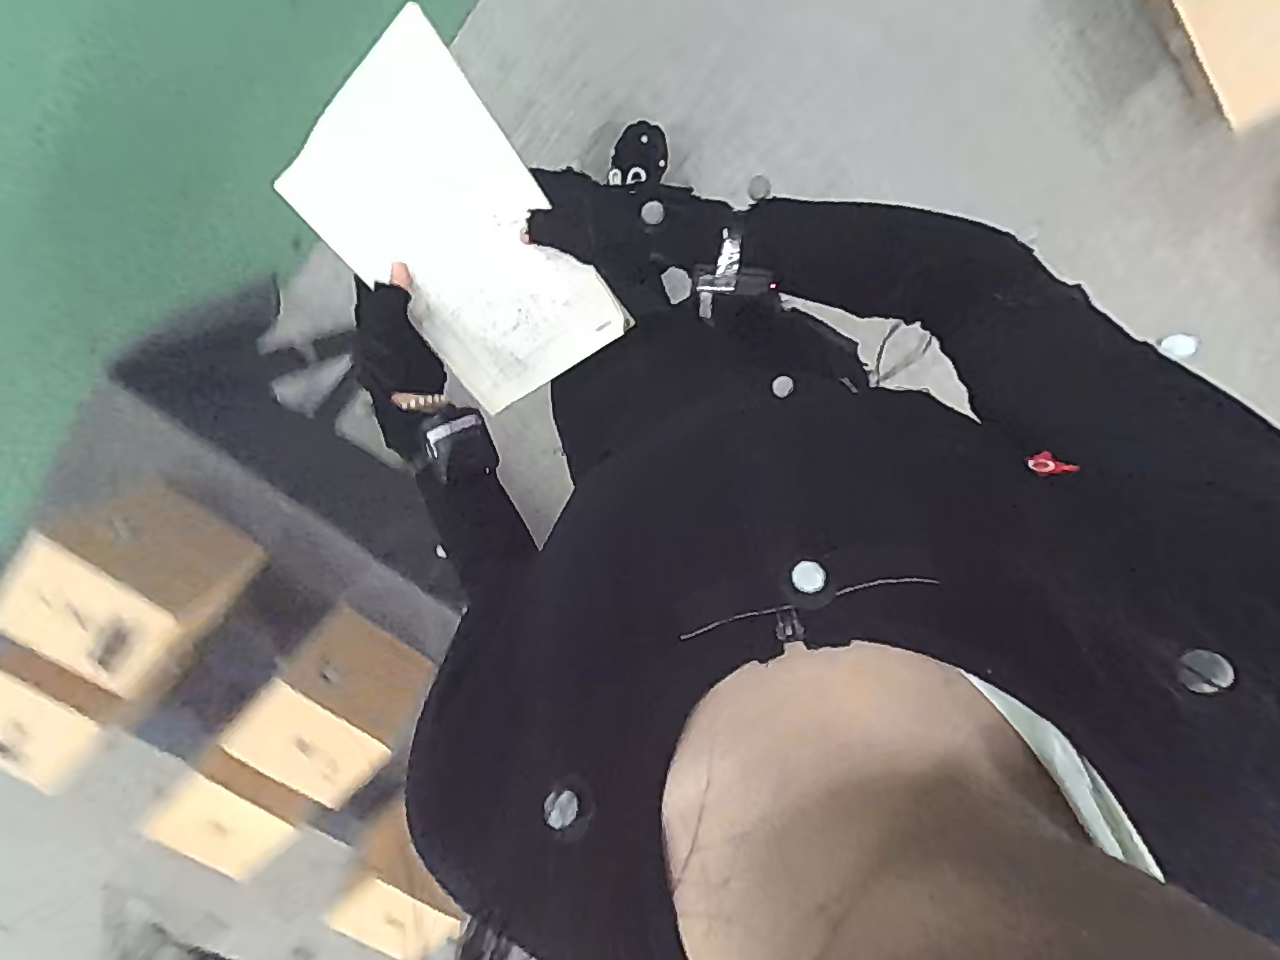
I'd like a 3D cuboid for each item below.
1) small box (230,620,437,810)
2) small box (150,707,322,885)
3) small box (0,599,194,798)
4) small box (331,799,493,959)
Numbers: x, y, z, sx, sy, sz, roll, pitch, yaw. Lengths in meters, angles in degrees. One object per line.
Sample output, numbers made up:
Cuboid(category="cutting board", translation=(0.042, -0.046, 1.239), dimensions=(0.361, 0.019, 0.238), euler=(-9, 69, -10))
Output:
Cuboid(category="small box", translation=(-0.444, 0.339, 0.810), dimensions=(0.179, 0.176, 0.168), euler=(41, 108, -16))
Cuboid(category="small box", translation=(-0.616, 0.499, 0.880), dimensions=(0.179, 0.176, 0.168), euler=(-42, 107, 16))
Cuboid(category="small box", translation=(-0.824, 0.315, 0.800), dimensions=(0.179, 0.176, 0.168), euler=(-43, 107, 15))
Cuboid(category="small box", translation=(-0.394, 0.710, 0.964), dimensions=(0.179, 0.176, 0.168), euler=(42, 106, -14))
